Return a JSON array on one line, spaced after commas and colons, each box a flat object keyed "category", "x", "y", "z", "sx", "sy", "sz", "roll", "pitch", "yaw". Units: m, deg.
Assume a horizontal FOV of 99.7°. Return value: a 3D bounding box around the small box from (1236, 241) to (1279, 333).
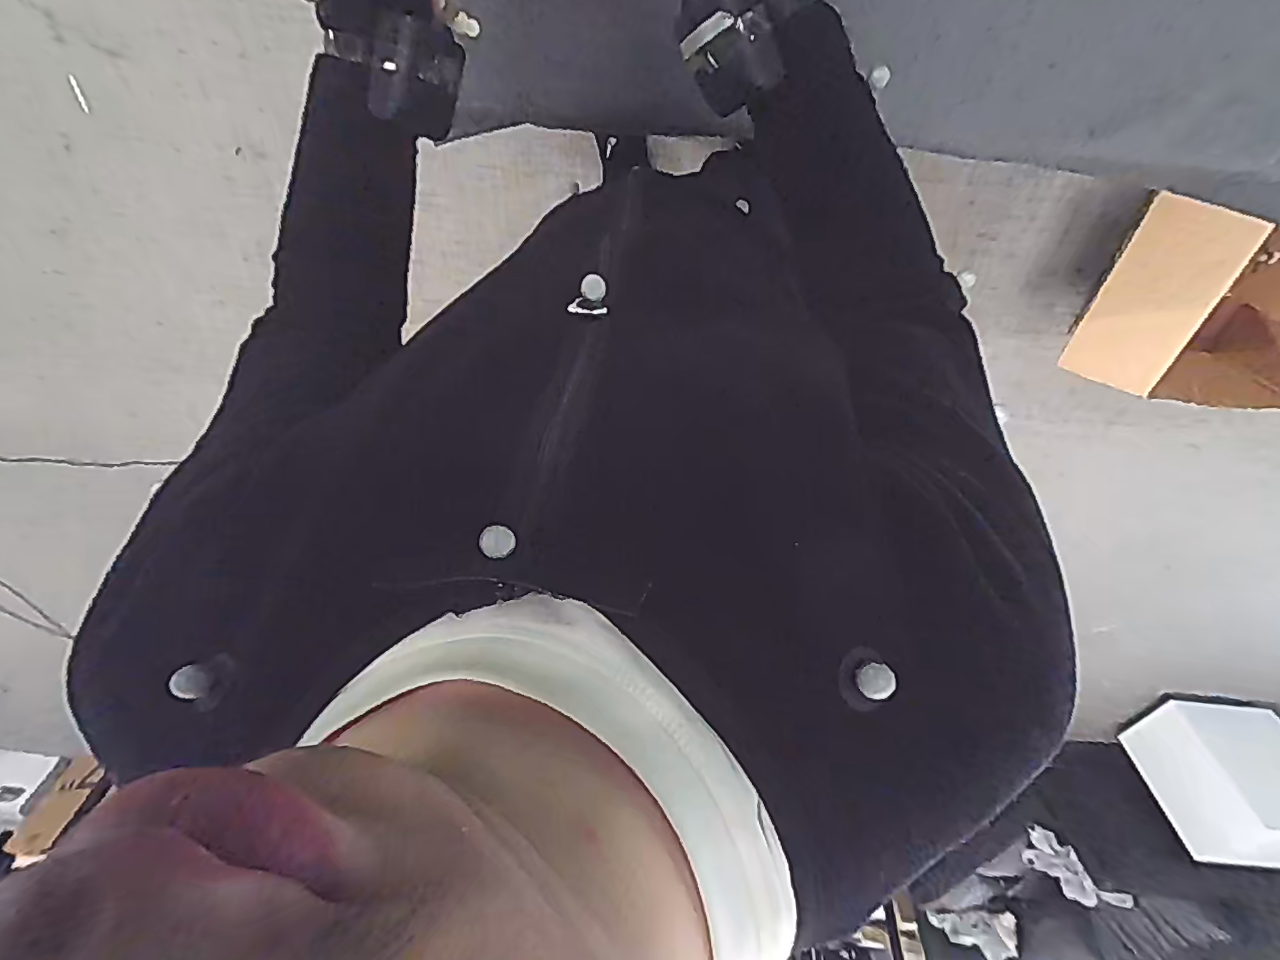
[{"category": "small box", "x": 1.422, "y": -0.402, "z": 1.107, "sx": 0.179, "sy": 0.176, "sz": 0.168, "roll": 1, "pitch": 132, "yaw": 5}]
